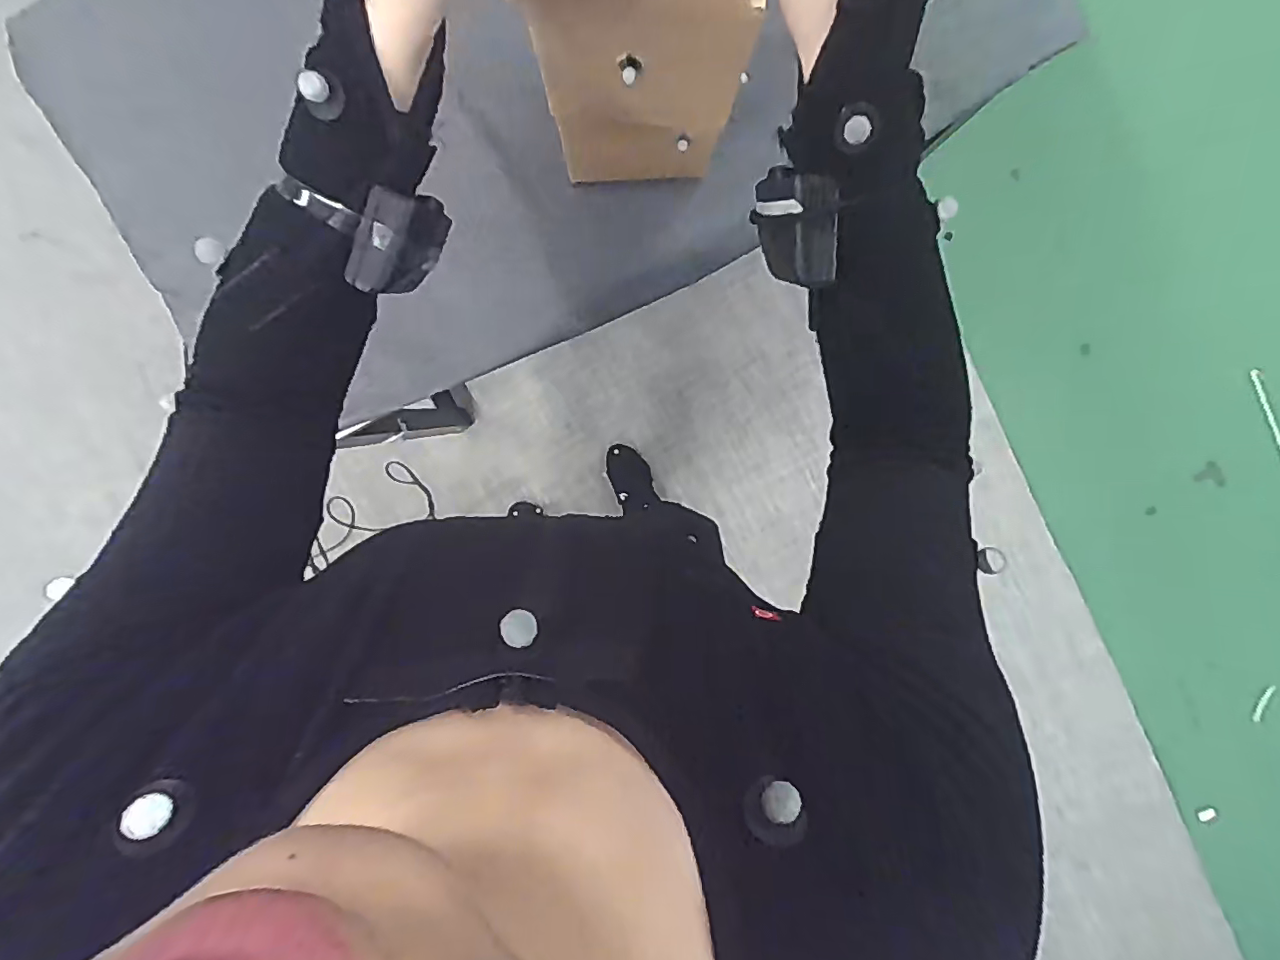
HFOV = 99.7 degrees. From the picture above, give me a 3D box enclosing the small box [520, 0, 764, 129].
[{"bbox_3d":[0.005,-0.423,0.449,0.179,0.176,0.168,4,97,-1],"label":"small box"}]
